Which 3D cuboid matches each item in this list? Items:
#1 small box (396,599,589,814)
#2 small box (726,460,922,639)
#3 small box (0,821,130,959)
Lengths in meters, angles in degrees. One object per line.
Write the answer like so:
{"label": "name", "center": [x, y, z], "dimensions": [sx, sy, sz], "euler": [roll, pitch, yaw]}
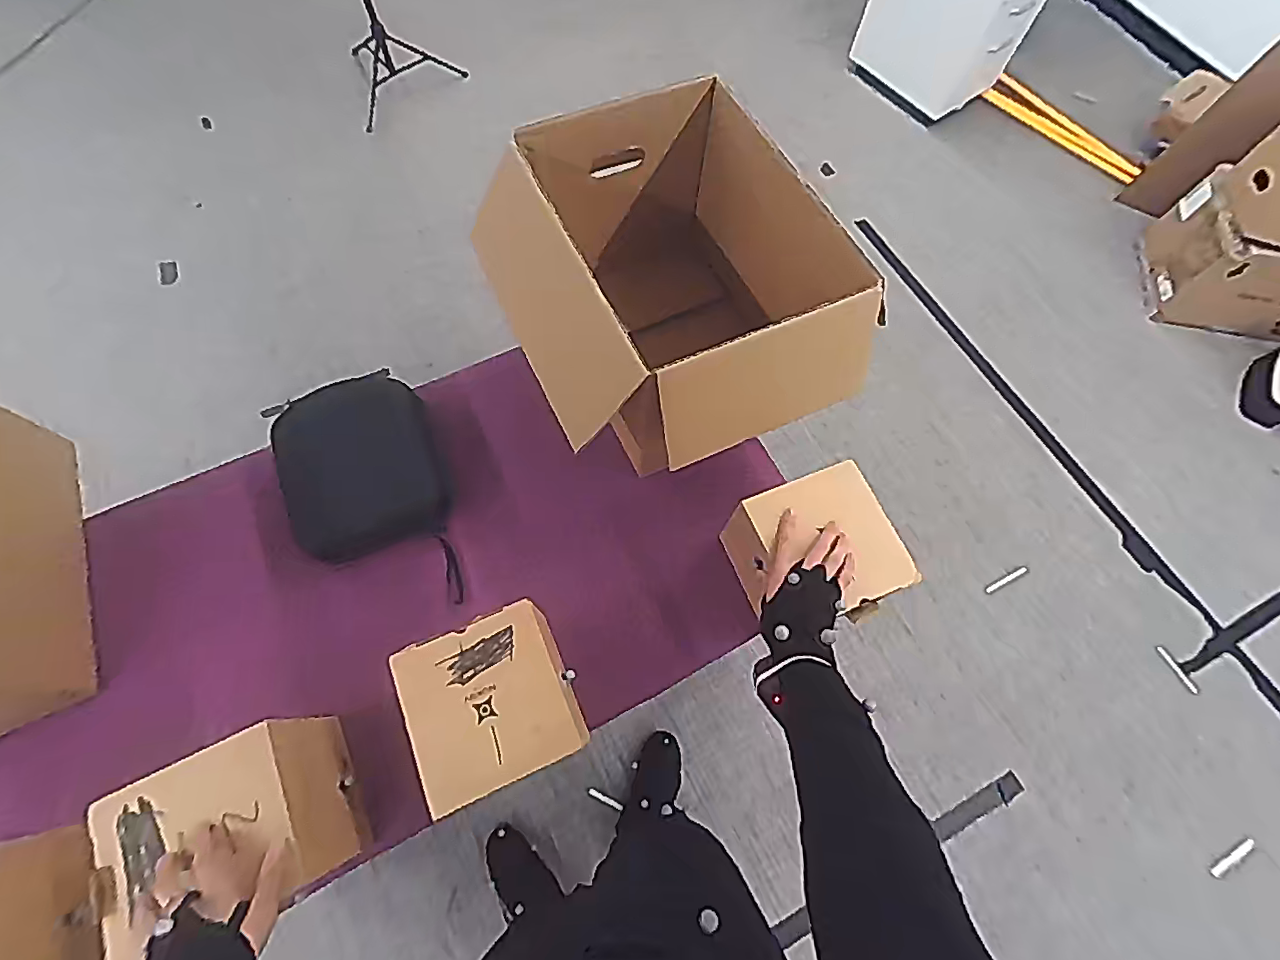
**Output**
{"label": "small box", "center": [-0.170, 0.269, 0.663], "dimensions": [0.168, 0.176, 0.179], "euler": [-22, 71, -10]}
{"label": "small box", "center": [0.234, 0.102, 0.743], "dimensions": [0.168, 0.176, 0.179], "euler": [-20, 71, -9]}
{"label": "small box", "center": [-0.696, 0.491, 0.555], "dimensions": [0.179, 0.176, 0.168], "euler": [-27, 72, -14]}
